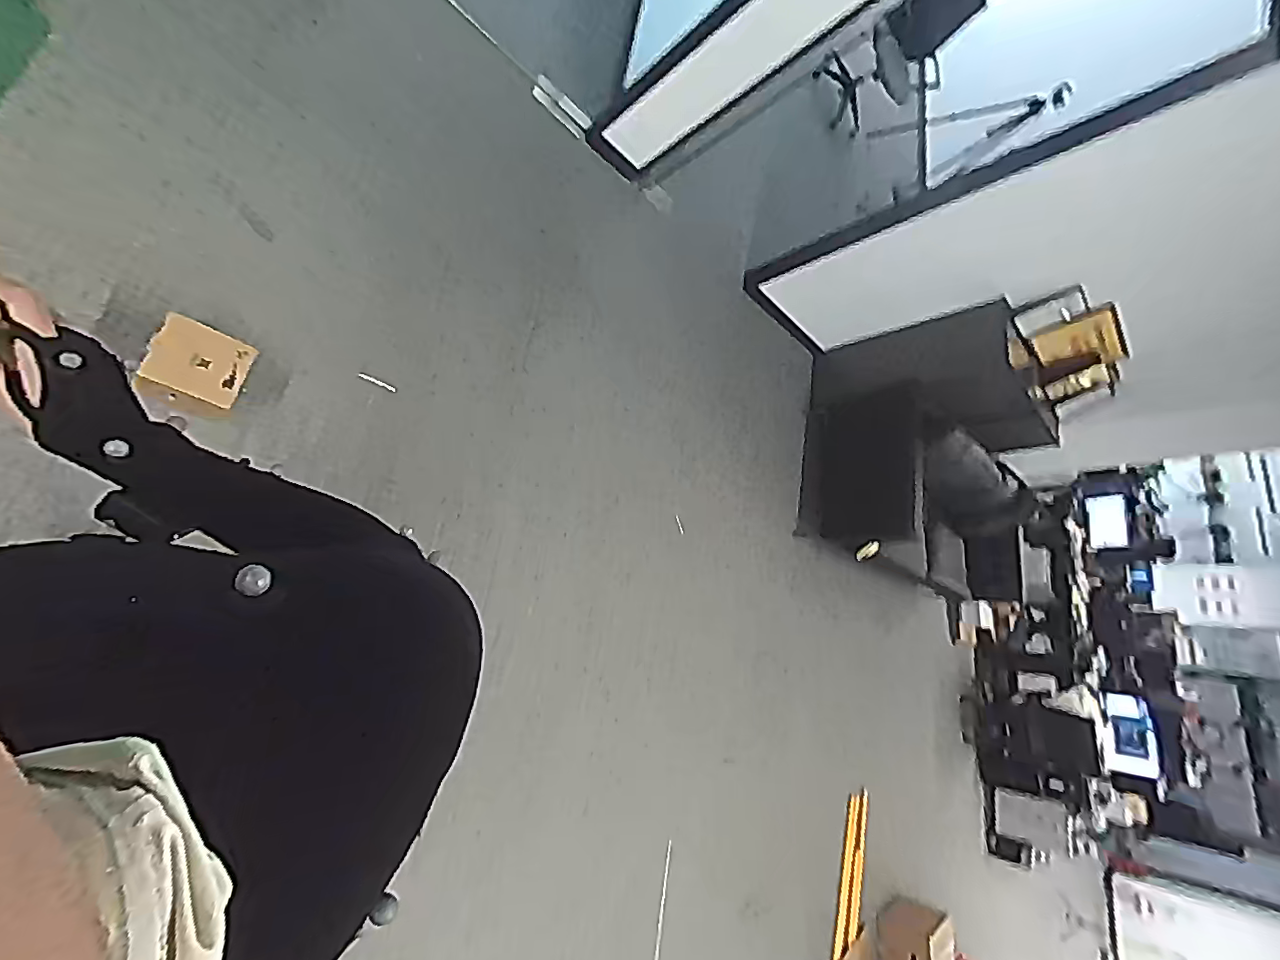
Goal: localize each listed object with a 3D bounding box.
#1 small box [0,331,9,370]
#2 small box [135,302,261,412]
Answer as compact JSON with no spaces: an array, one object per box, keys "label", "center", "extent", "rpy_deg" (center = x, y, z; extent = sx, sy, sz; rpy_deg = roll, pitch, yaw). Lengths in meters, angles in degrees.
[{"label":"small box","center":[-0.625,-0.173,0.401],"extent":[0.168,0.176,0.179],"rpy_deg":[-22,97,-46]},{"label":"small box","center":[-1.034,-0.275,1.264],"extent":[0.179,0.176,0.168],"rpy_deg":[29,65,-38]}]
